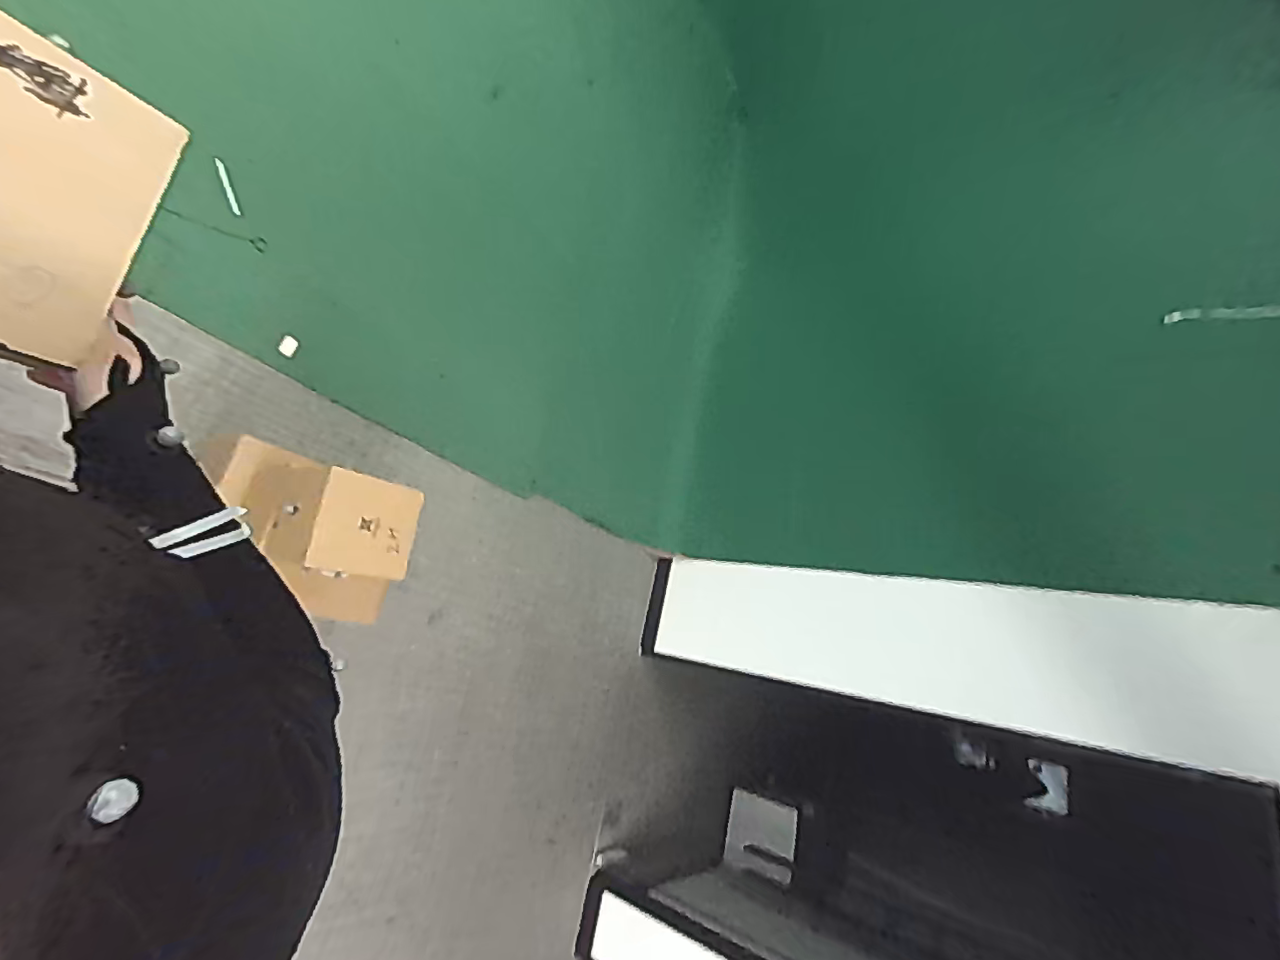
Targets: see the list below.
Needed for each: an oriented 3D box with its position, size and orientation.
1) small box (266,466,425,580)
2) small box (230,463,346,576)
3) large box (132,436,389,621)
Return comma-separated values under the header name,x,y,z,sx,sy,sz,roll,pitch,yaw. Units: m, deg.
name,x,y,z,sx,sy,sz,roll,pitch,yaw
small box,-0.529,0.080,0.972,0.179,0.176,0.168,27,68,-52
small box,-0.665,0.080,1.064,0.168,0.176,0.179,33,62,-50
large box,-0.828,0.124,1.254,0.408,0.320,0.320,35,62,-49
